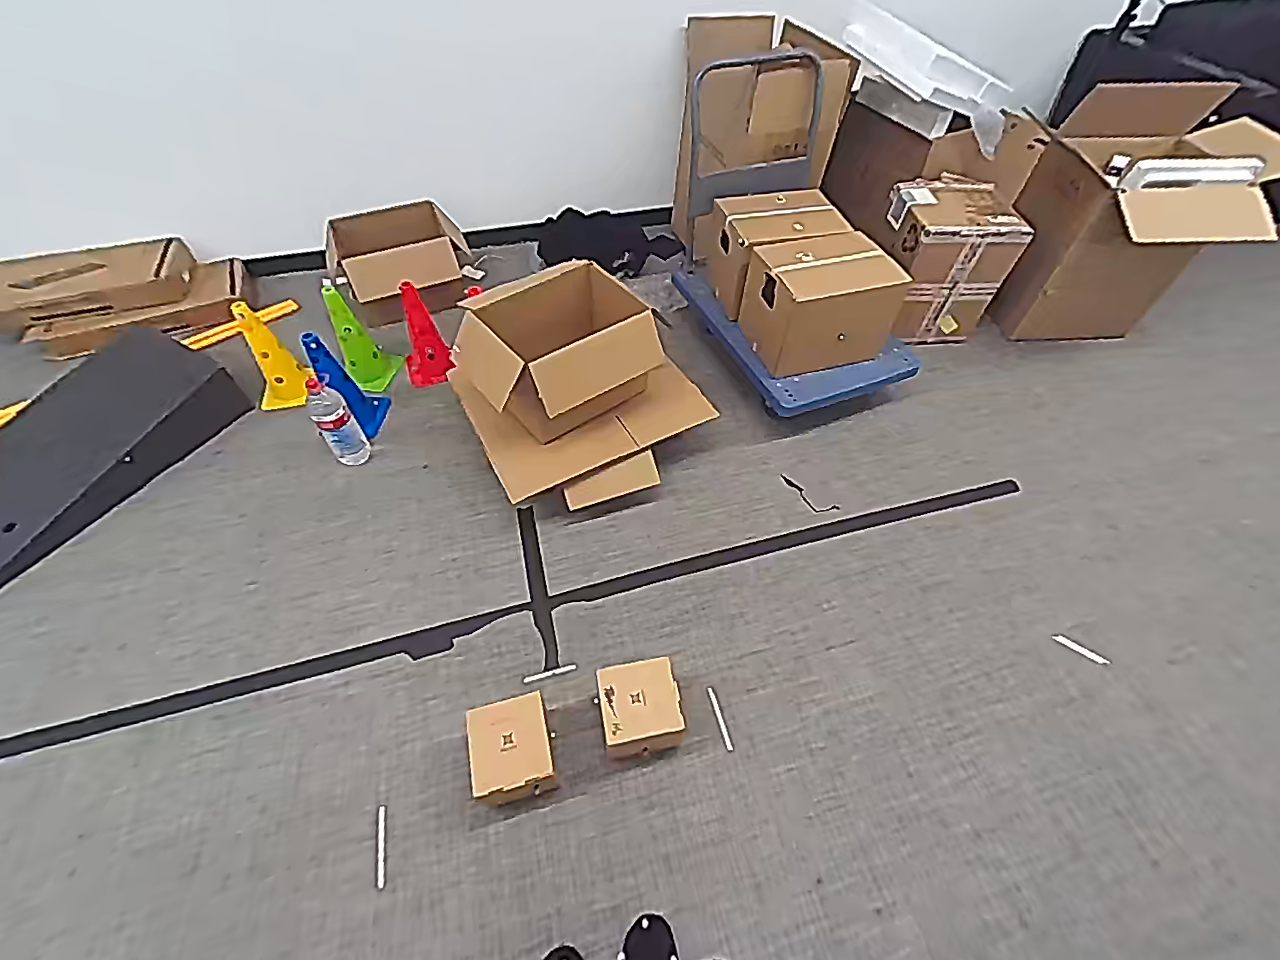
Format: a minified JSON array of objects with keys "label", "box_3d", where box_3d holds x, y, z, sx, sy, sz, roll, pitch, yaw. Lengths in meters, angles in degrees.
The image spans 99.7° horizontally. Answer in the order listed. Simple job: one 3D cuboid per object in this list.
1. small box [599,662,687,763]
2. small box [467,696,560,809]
[{"label":"small box","box_3d":[-0.001,0.545,1.263,0.179,0.176,0.168,-7,54,-9]},{"label":"small box","box_3d":[-0.278,0.612,1.202,0.168,0.176,0.179,-12,53,-12]}]
